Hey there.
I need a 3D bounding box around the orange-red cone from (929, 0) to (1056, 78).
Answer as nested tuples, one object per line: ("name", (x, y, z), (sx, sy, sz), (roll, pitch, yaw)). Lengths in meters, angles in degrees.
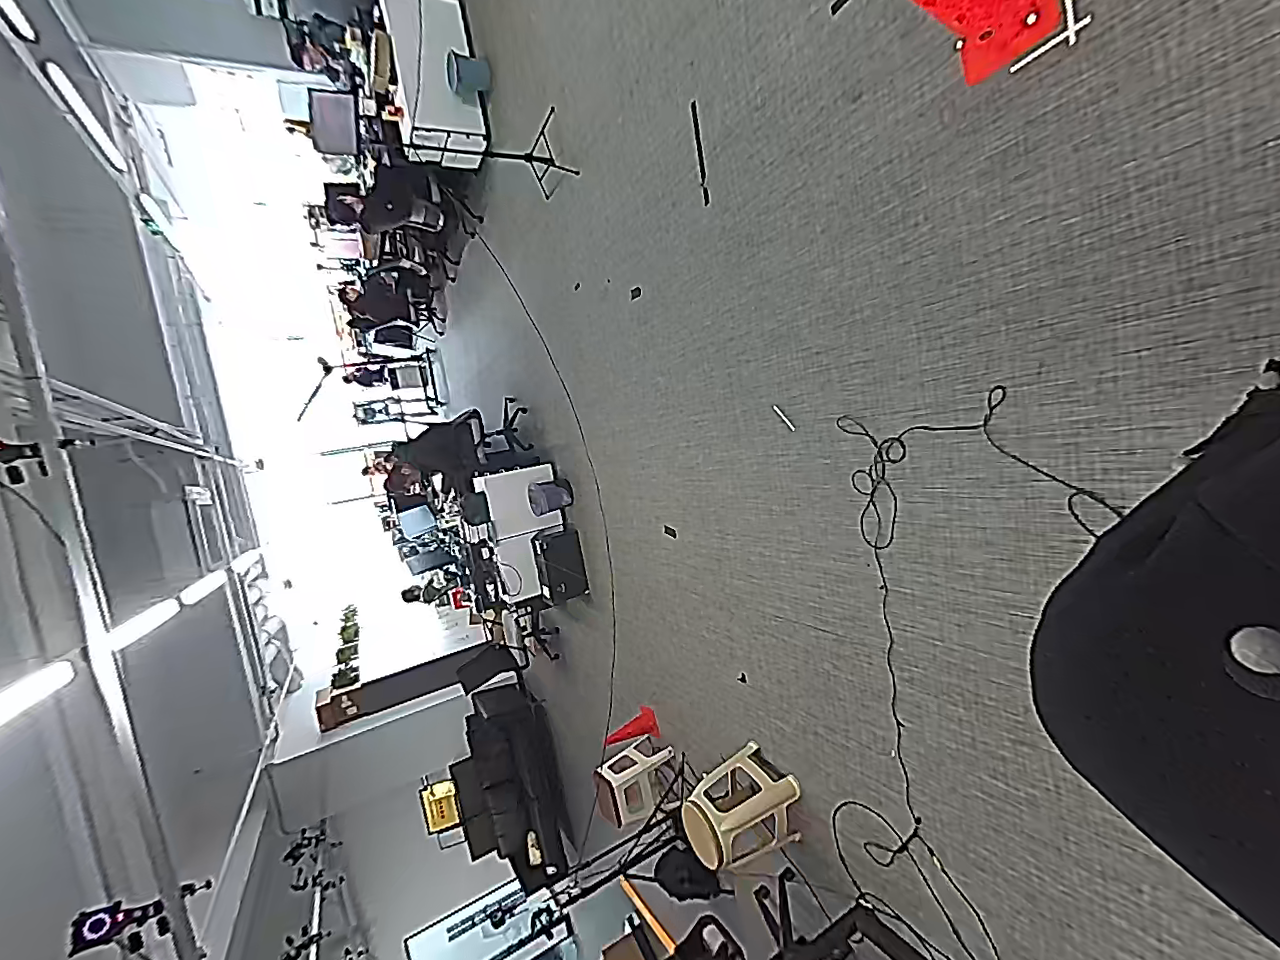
("orange-red cone", (0.670, -1.027, 1.134), (0.198, 0.360, 0.199), (-3, 98, 61))
